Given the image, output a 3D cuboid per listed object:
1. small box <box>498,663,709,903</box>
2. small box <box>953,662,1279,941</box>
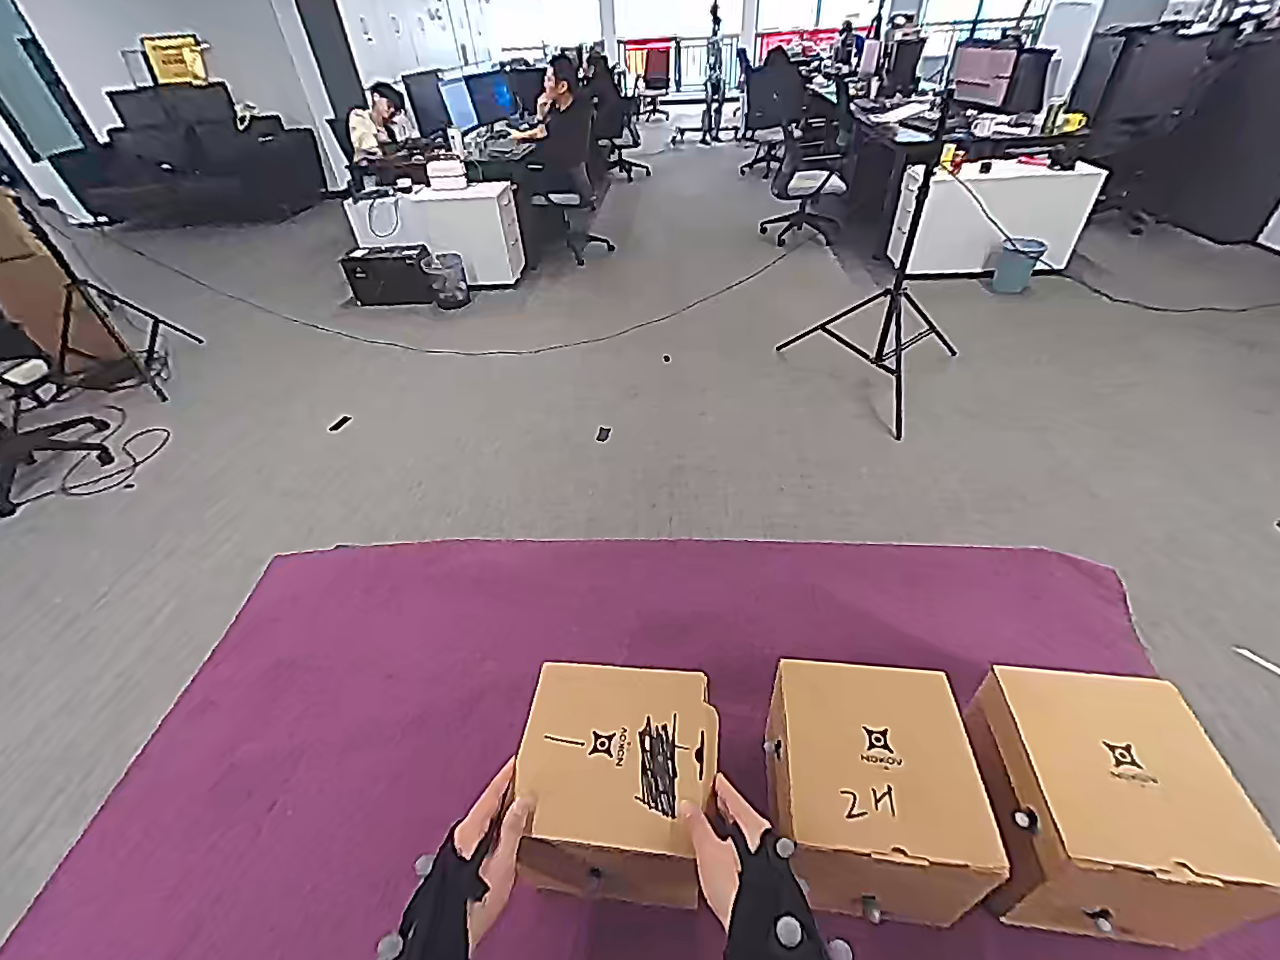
[{"bbox_3d":[-0.020,0.313,0.560,0.179,0.176,0.168,1,41,8],"label":"small box"},{"bbox_3d":[0.433,0.305,0.523,0.168,0.176,0.179,2,39,8],"label":"small box"}]
